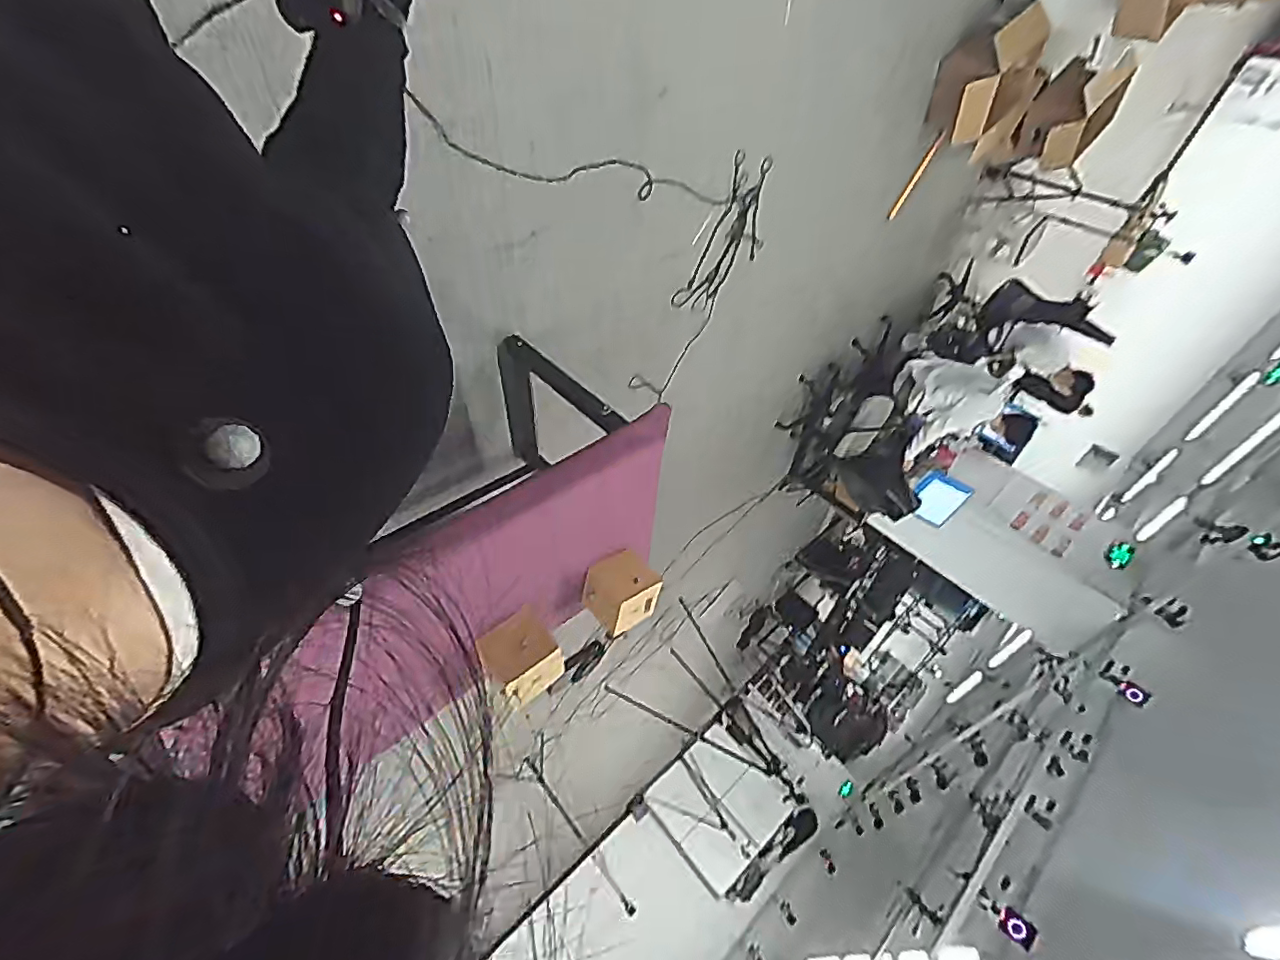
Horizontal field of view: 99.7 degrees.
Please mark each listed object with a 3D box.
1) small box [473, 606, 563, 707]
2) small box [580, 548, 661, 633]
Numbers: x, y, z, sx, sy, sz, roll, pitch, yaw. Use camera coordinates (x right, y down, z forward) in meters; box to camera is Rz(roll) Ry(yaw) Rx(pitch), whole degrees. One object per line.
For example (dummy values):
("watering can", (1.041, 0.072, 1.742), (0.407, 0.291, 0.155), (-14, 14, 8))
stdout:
("small box", (-0.339, 0.488, 1.517), (0.179, 0.176, 0.168), (-33, 145, -30))
("small box", (-0.066, 0.343, 1.720), (0.179, 0.176, 0.168), (-21, 139, -39))
